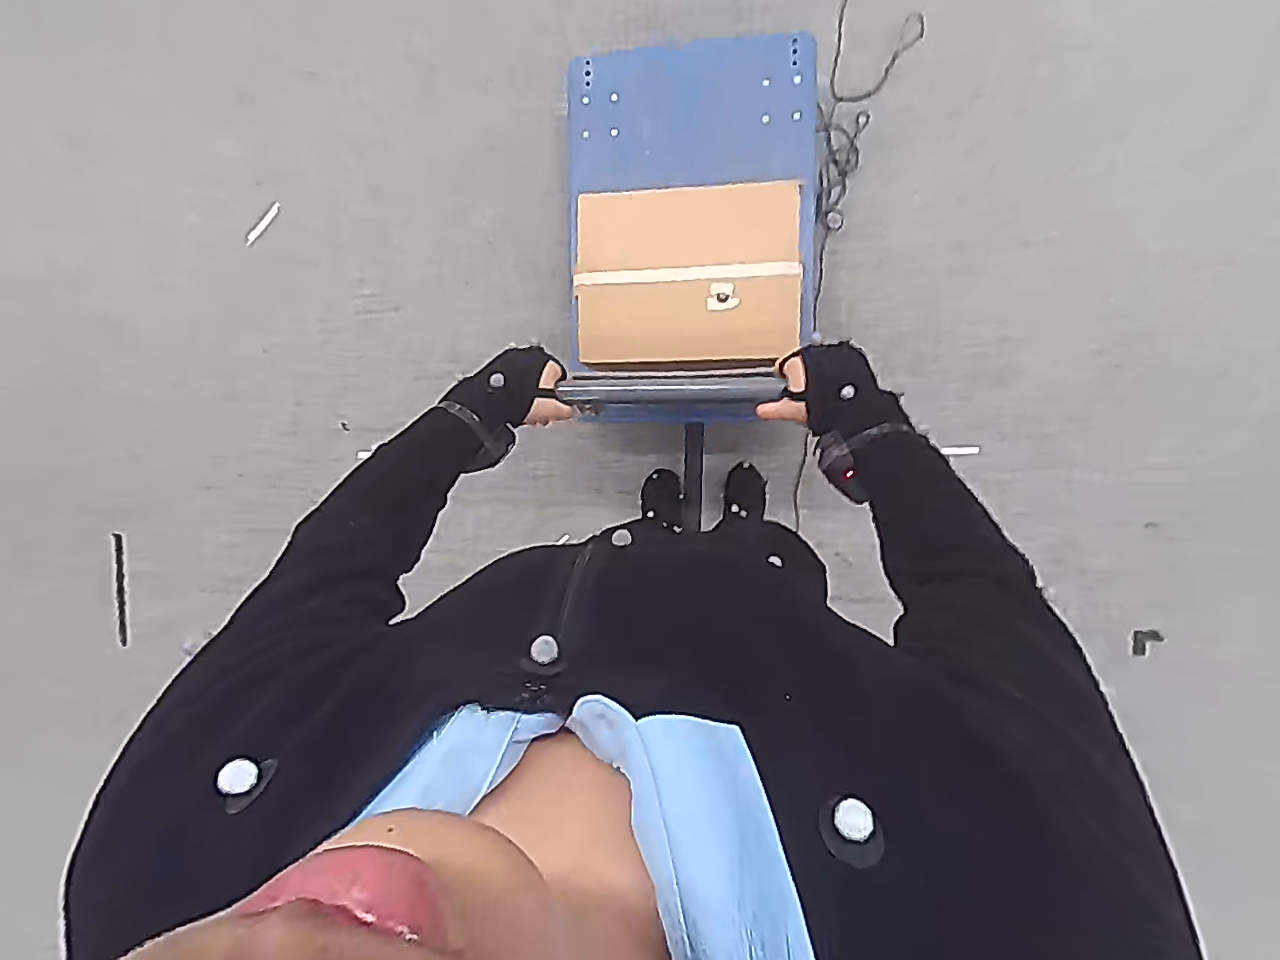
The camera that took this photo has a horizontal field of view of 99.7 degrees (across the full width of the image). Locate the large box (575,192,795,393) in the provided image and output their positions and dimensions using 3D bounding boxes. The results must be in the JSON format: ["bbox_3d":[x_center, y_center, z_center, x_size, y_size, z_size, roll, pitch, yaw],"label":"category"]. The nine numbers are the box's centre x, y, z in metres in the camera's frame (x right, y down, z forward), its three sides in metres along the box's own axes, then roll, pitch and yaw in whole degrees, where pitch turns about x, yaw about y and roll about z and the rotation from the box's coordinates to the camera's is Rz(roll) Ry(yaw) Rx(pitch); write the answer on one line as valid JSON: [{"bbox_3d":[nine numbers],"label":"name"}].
[{"bbox_3d":[0.095,-0.360,1.130,0.408,0.320,0.320,0,93,7],"label":"large box"}]
